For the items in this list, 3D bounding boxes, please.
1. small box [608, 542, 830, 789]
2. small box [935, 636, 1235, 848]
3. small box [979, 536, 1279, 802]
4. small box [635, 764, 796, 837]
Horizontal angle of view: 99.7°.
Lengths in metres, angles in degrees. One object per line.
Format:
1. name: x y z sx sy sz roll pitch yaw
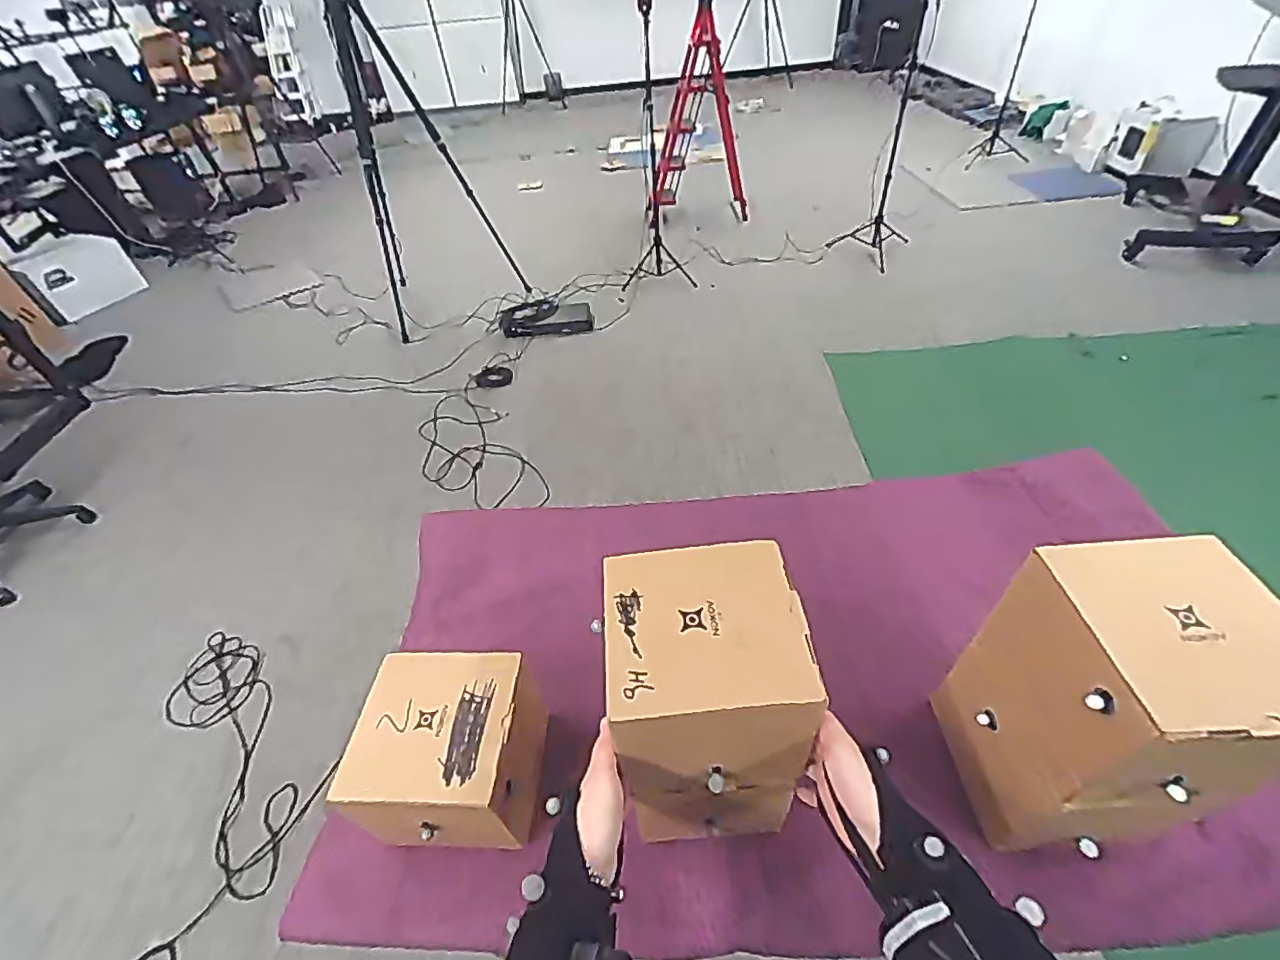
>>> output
1. small box: 0.062 0.182 0.530 0.179 0.176 0.168 -5 41 0
2. small box: 0.469 0.293 0.613 0.168 0.176 0.179 -4 45 2
3. small box: 0.458 0.175 0.502 0.168 0.176 0.179 -5 44 2
4. small box: 0.075 0.299 0.646 0.168 0.176 0.179 -5 43 1
